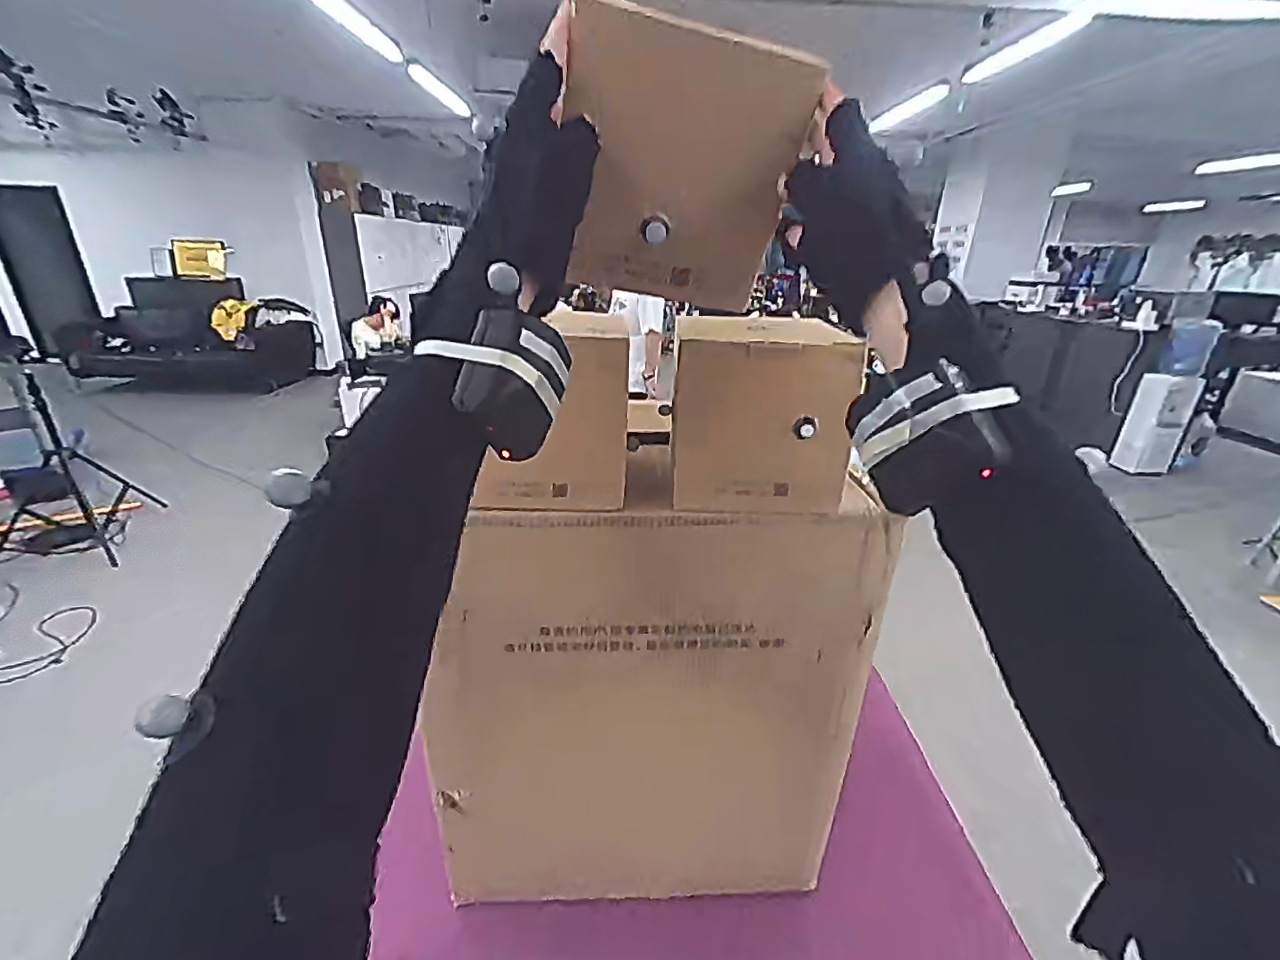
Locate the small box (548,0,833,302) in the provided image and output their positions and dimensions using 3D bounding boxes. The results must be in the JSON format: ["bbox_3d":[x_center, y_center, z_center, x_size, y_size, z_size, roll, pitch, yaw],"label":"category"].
[{"bbox_3d":[0.018,-0.267,0.437,0.168,0.176,0.179,6,40,-12],"label":"small box"}]

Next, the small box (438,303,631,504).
[{"bbox_3d":[-0.095,-0.086,0.559,0.168,0.176,0.179,1,22,-3],"label":"small box"}]

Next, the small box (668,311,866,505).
[{"bbox_3d":[0.117,-0.082,0.571,0.168,0.176,0.179,2,22,1],"label":"small box"}]
